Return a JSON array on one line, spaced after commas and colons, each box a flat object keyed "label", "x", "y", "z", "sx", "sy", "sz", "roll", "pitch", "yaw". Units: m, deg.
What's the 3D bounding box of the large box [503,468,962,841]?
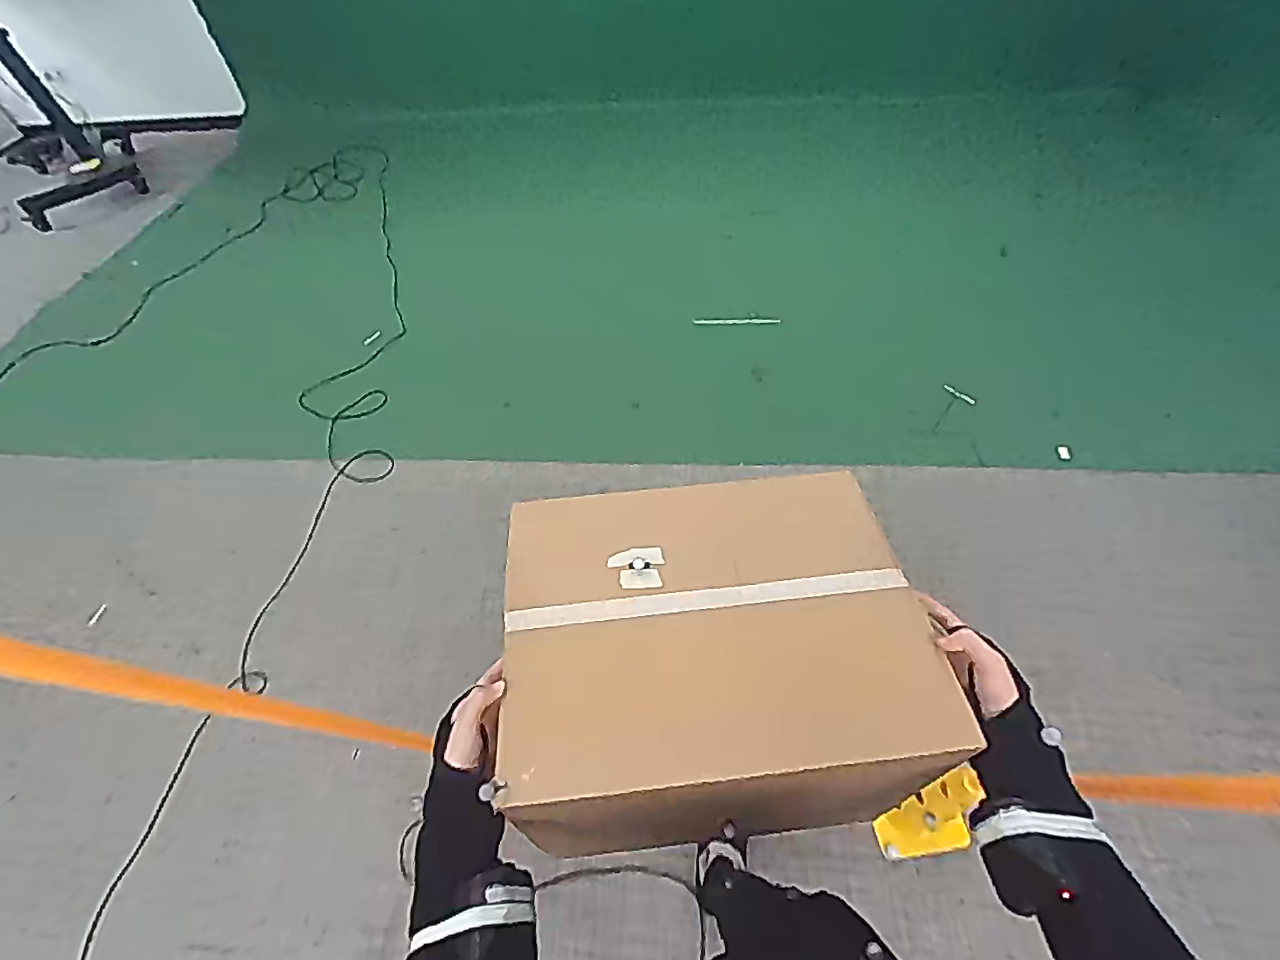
[{"label": "large box", "x": 0.073, "y": 0.219, "z": 0.662, "sx": 0.408, "sy": 0.320, "sz": 0.320, "roll": -6, "pitch": 49, "yaw": -2}]
